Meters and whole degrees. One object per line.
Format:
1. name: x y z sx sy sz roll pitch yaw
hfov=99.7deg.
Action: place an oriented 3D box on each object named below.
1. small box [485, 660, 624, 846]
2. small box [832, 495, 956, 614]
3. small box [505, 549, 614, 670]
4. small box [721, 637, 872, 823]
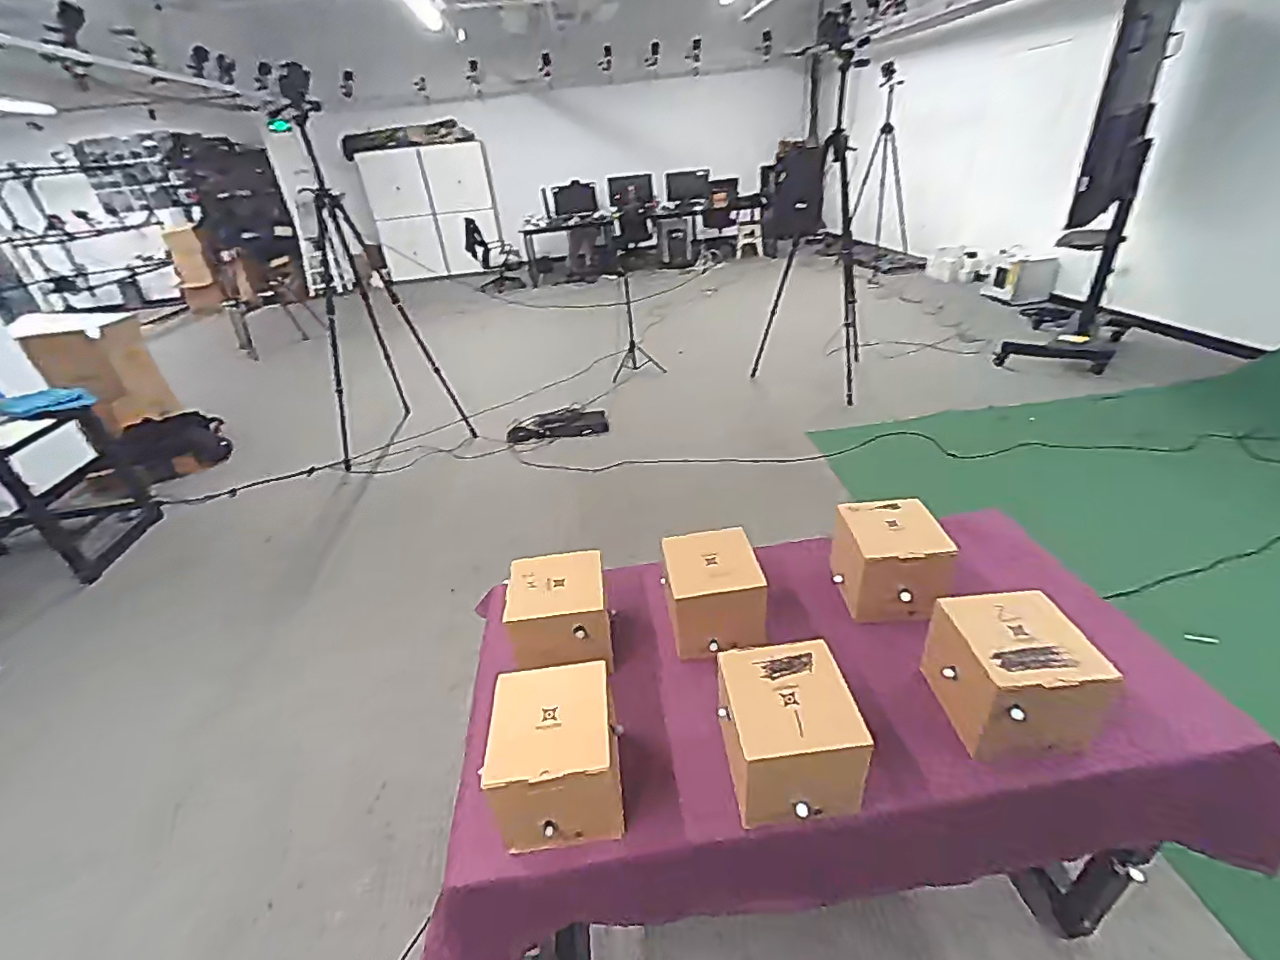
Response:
1. small box: -0.116 0.398 0.799 0.168 0.176 0.179 -8 32 -2
2. small box: 0.491 0.151 1.073 0.168 0.176 0.179 -4 33 3
3. small box: -0.143 0.257 1.031 0.179 0.176 0.168 -8 31 -1
4. small box: 0.214 0.361 0.790 0.168 0.176 0.179 -8 32 0
